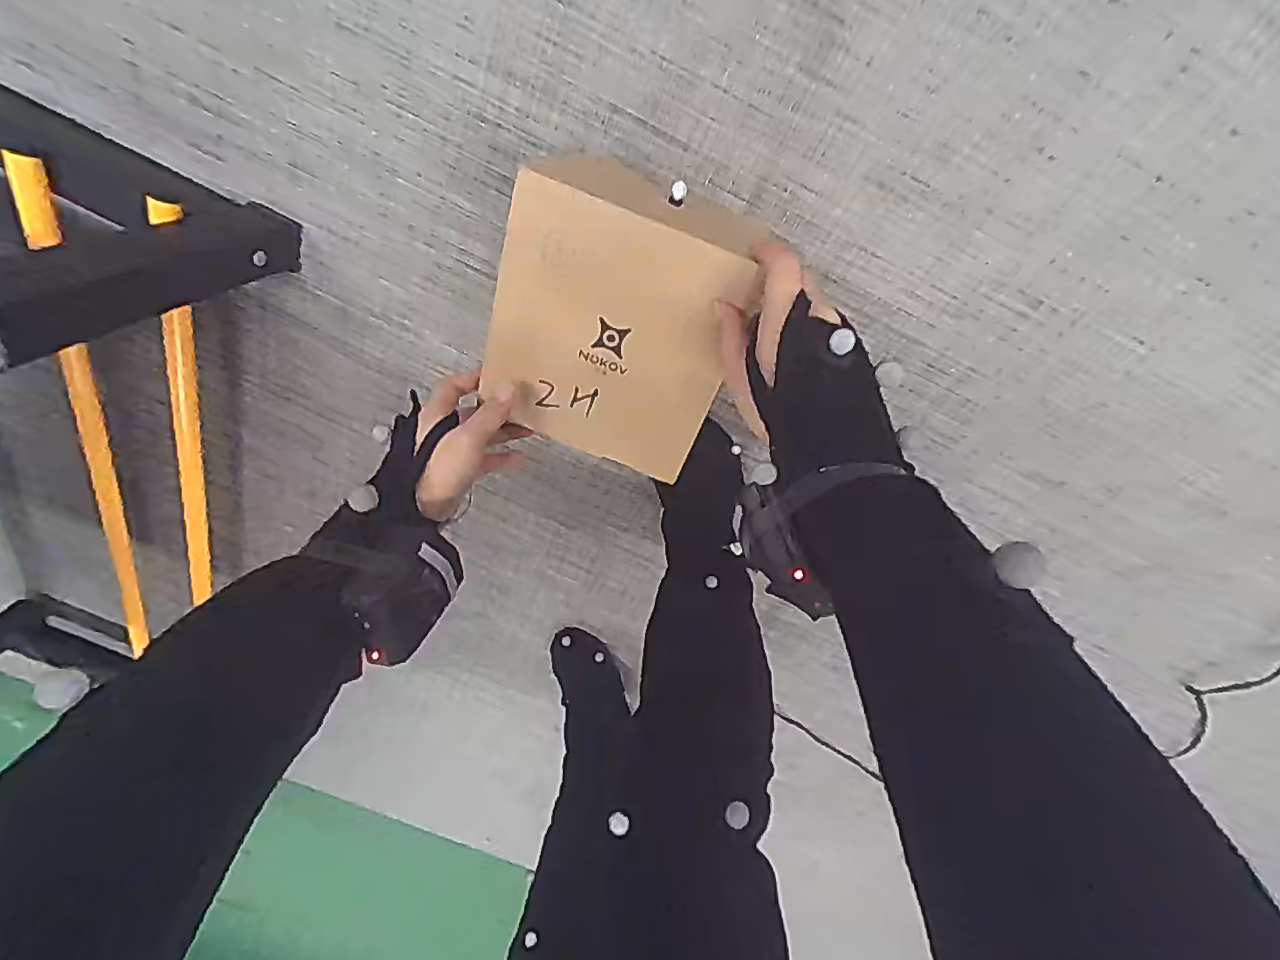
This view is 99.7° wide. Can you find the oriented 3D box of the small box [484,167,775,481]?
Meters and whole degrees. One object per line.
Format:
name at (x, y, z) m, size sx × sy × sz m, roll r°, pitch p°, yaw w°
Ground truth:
small box at (-0.006, -0.136, 0.445) m, size 0.168 × 0.176 × 0.179 m, roll 21°, pitch 124°, yaw -2°
